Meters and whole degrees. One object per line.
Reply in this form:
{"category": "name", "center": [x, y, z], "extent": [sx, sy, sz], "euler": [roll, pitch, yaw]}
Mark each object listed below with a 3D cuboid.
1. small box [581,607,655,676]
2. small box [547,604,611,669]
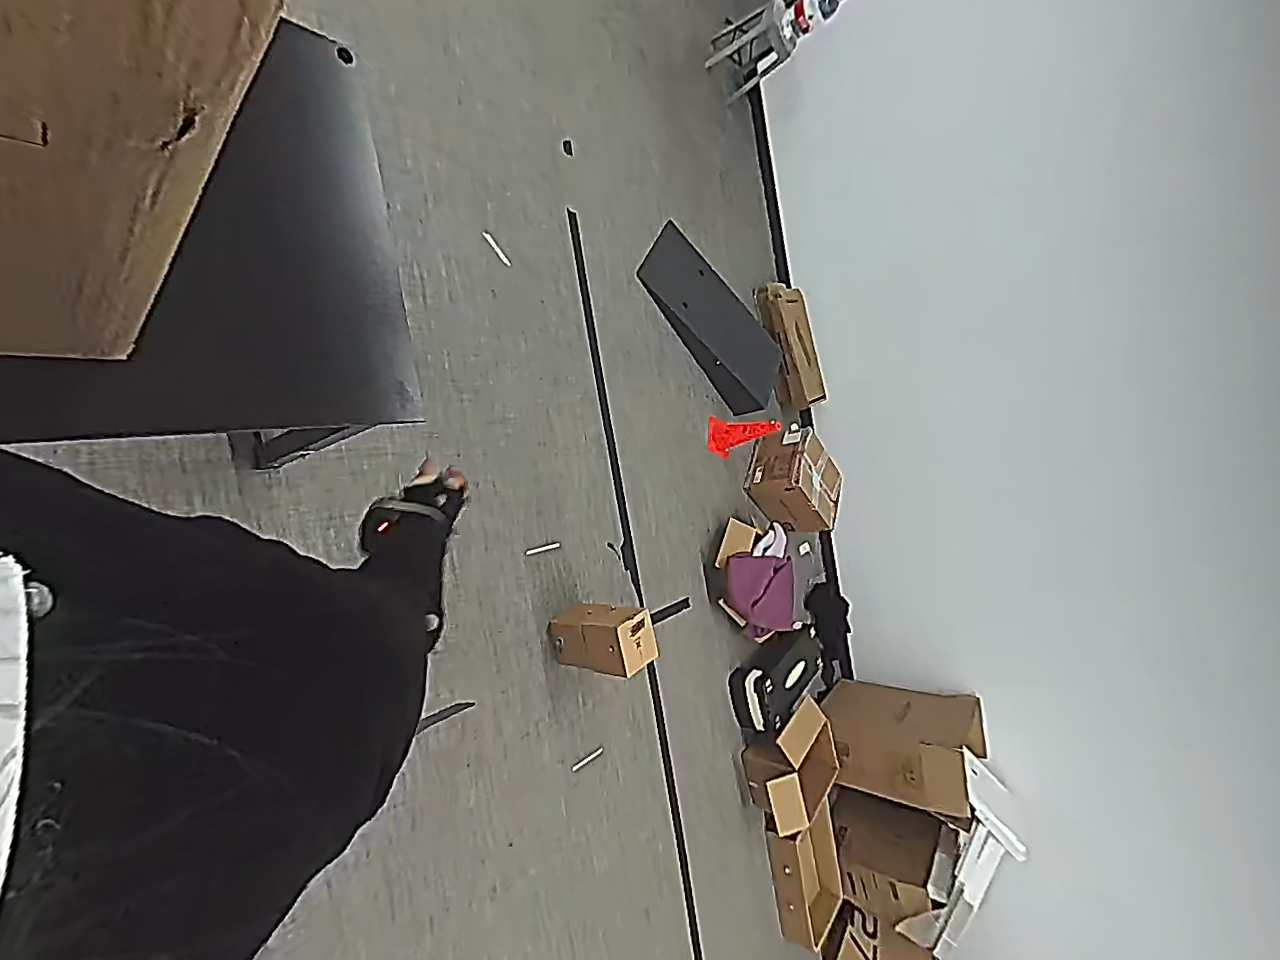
{"category": "small box", "center": [-0.079, 0.541, 1.833], "extent": [0.168, 0.176, 0.179], "euler": [-18, 98, -49]}
{"category": "small box", "center": [-0.205, 0.553, 1.939], "extent": [0.179, 0.176, 0.168], "euler": [-21, 99, -47]}
